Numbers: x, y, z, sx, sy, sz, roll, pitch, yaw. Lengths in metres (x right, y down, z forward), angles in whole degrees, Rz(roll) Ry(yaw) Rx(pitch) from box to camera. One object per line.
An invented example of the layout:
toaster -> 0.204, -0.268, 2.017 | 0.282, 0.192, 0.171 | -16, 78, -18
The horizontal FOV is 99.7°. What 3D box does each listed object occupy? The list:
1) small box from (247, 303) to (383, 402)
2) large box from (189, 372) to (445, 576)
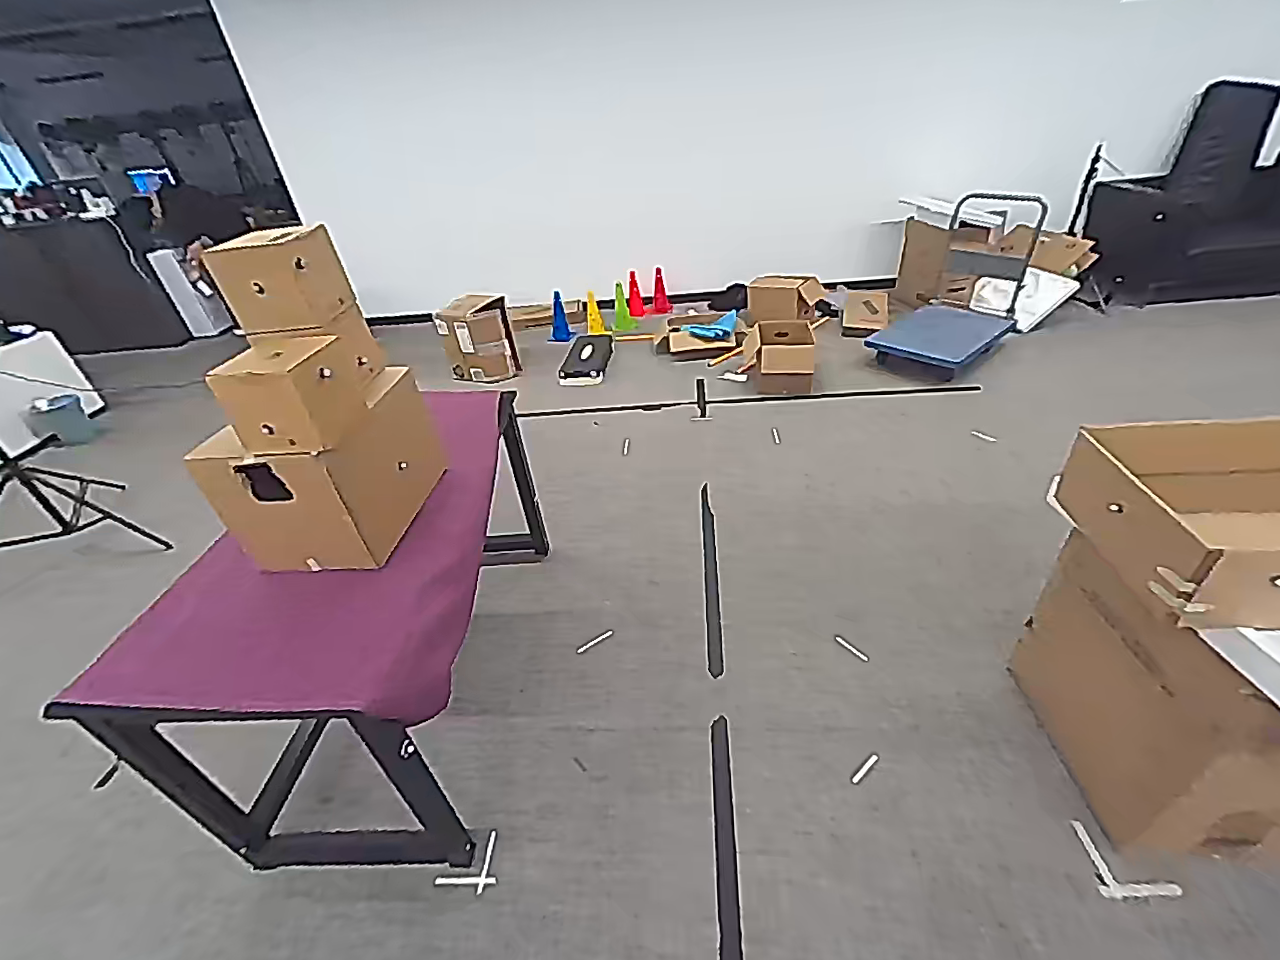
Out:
small box -> -0.733, -0.290, 1.240 | 0.179, 0.176, 0.168 | -3, 37, 6
large box -> -0.716, -0.025, 1.291 | 0.320, 0.320, 0.408 | -4, 36, 7
